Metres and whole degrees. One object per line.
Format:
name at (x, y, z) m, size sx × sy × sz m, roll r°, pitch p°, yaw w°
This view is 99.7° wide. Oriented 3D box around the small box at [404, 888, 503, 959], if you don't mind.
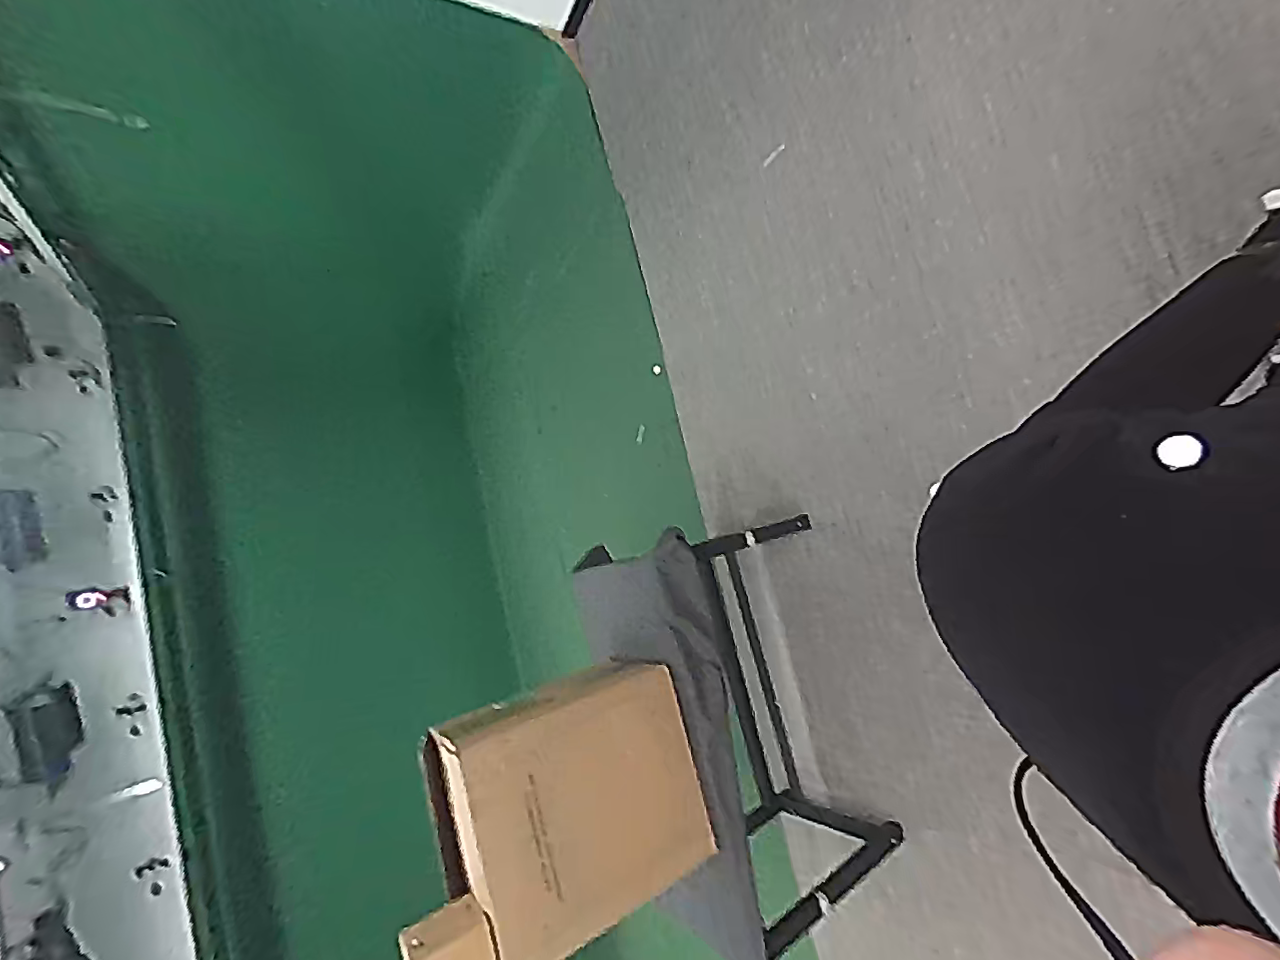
small box at (-0.419, 1.098, 1.237) m, size 0.168 × 0.176 × 0.179 m, roll -25°, pitch 81°, yaw 54°
